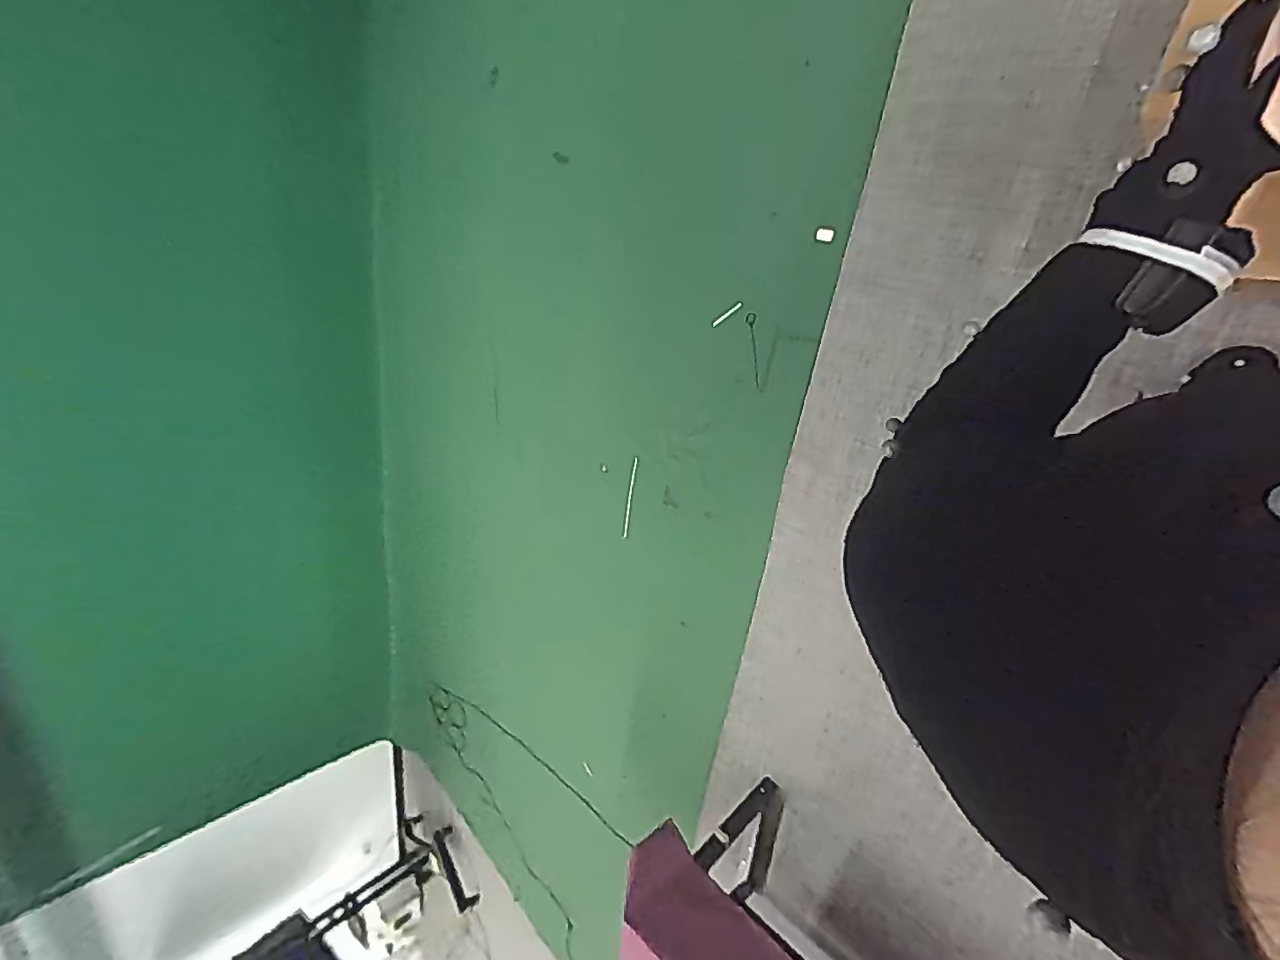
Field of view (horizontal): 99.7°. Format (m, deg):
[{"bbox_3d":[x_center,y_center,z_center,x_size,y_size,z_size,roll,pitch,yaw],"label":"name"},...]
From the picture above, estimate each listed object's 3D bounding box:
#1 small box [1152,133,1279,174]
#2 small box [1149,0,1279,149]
[{"bbox_3d":[0.813,-0.507,0.698,0.179,0.176,0.168,26,115,39],"label":"small box"},{"bbox_3d":[0.697,-0.482,0.587,0.168,0.176,0.179,27,118,38],"label":"small box"}]
